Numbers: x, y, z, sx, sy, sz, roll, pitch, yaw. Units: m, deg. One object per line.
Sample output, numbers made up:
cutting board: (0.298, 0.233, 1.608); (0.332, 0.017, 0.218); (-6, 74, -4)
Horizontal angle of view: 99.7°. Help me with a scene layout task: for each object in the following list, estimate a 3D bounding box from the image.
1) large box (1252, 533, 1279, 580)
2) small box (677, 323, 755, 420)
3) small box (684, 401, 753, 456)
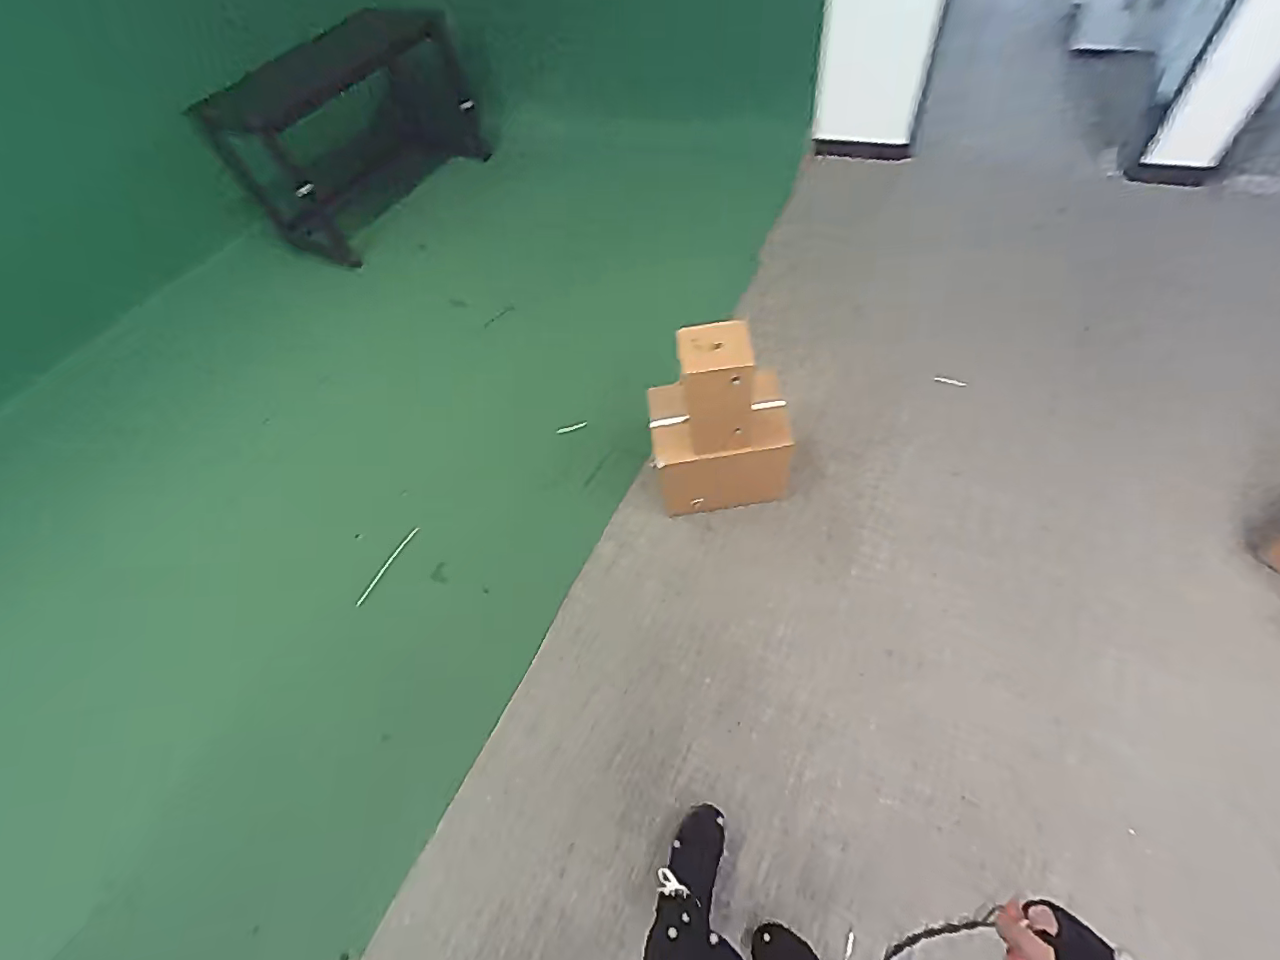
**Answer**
large box: (1.888, 0.192, 1.291); (0.320, 0.320, 0.408); (-30, 56, -12)
small box: (0.192, -0.275, 1.393); (0.179, 0.176, 0.168); (-7, 55, 5)
small box: (0.216, -0.186, 1.529); (0.179, 0.176, 0.168); (-9, 56, 5)
